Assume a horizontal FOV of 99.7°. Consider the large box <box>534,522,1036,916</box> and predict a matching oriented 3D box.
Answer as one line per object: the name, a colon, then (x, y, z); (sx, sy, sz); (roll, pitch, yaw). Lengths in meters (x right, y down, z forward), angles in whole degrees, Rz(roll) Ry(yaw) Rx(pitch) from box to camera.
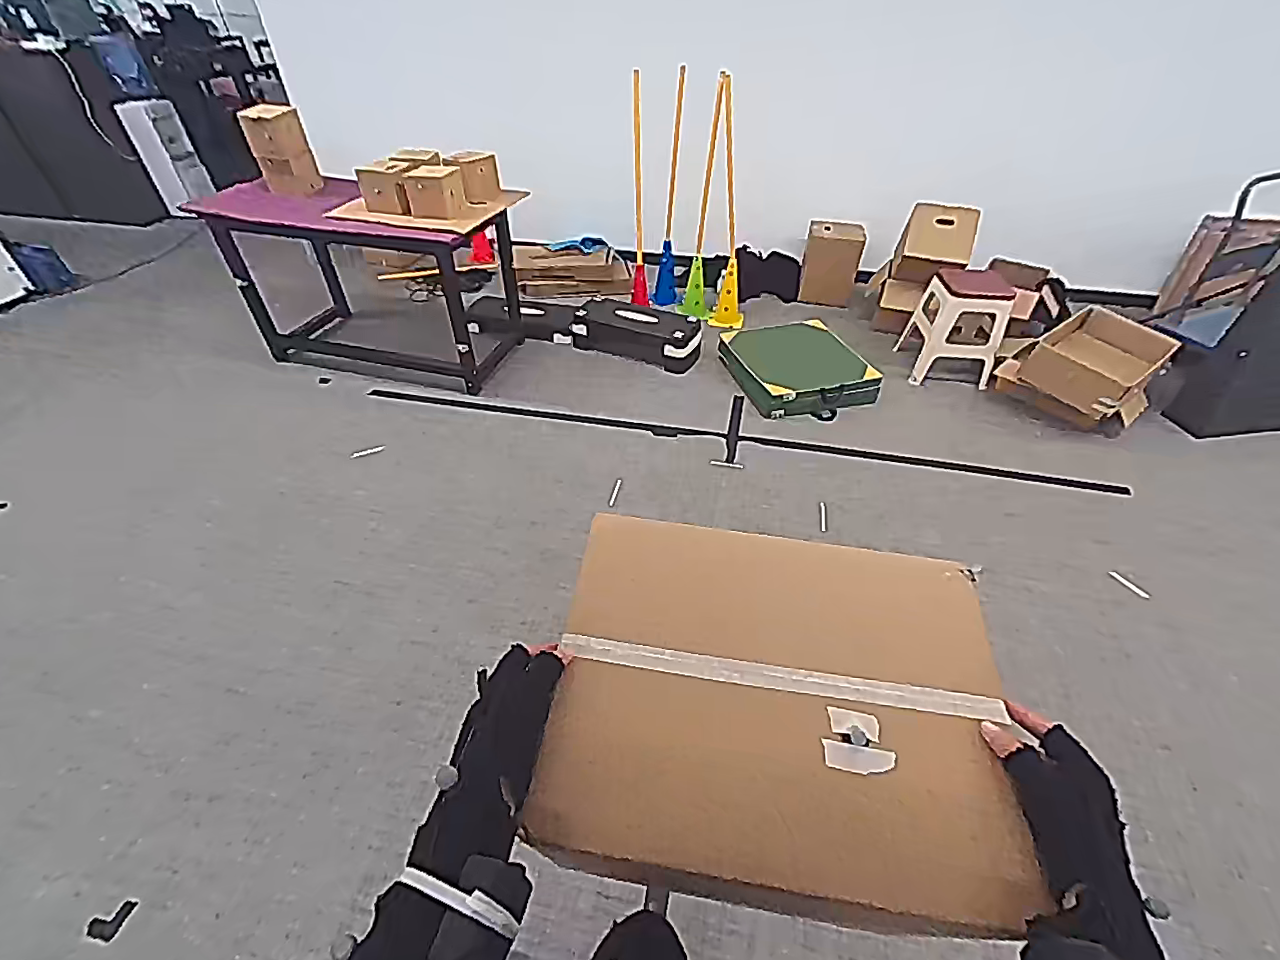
large box: (0.125, 0.281, 0.633); (0.408, 0.320, 0.320); (7, 52, 5)
